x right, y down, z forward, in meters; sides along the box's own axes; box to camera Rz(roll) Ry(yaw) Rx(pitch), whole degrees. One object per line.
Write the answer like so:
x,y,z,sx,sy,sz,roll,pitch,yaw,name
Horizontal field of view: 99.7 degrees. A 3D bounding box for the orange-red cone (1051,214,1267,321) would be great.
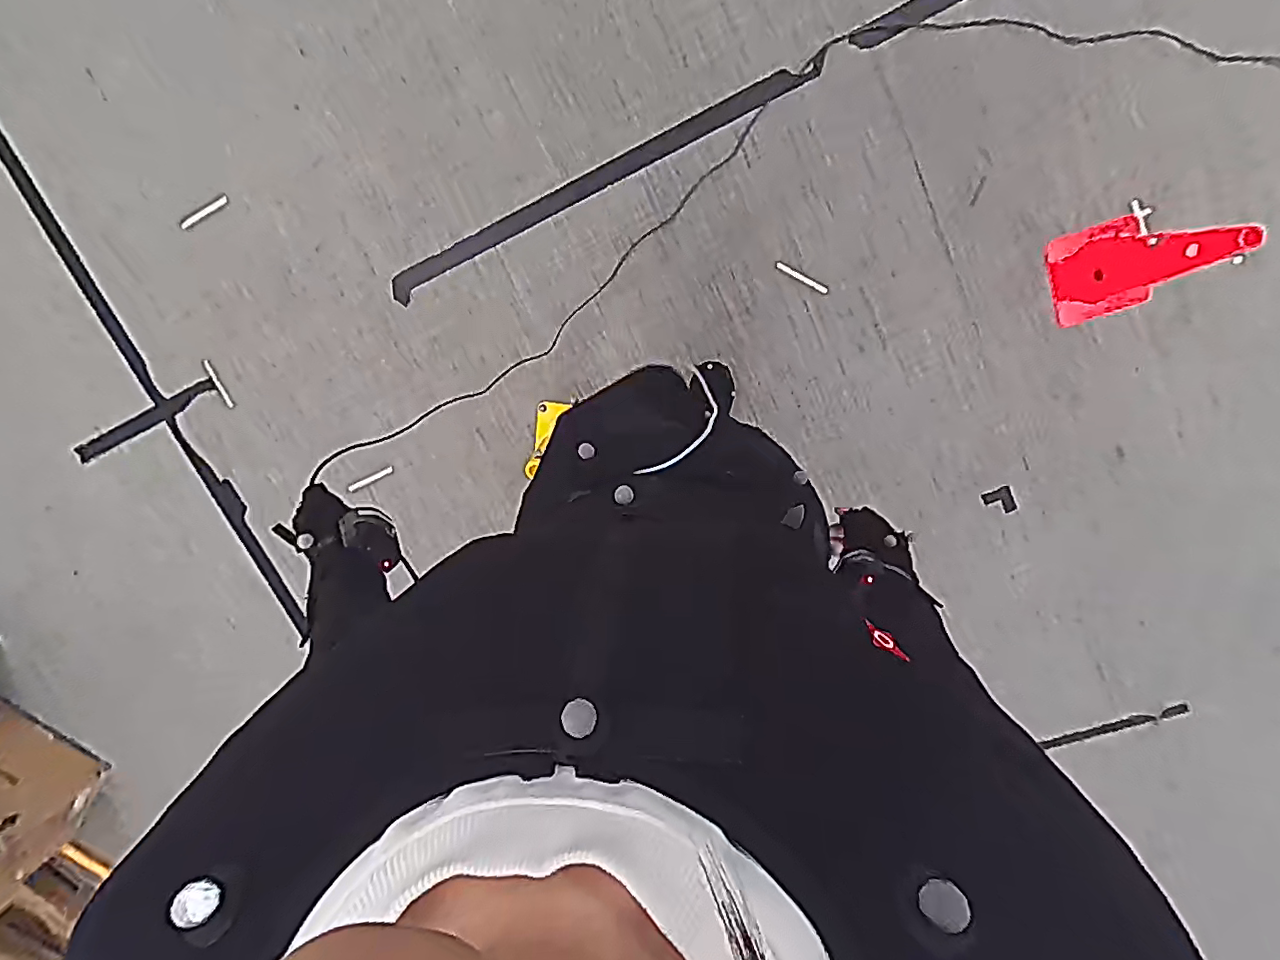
1.030,-0.443,1.060,0.199,0.360,0.198,-16,100,10,orange-red cone
